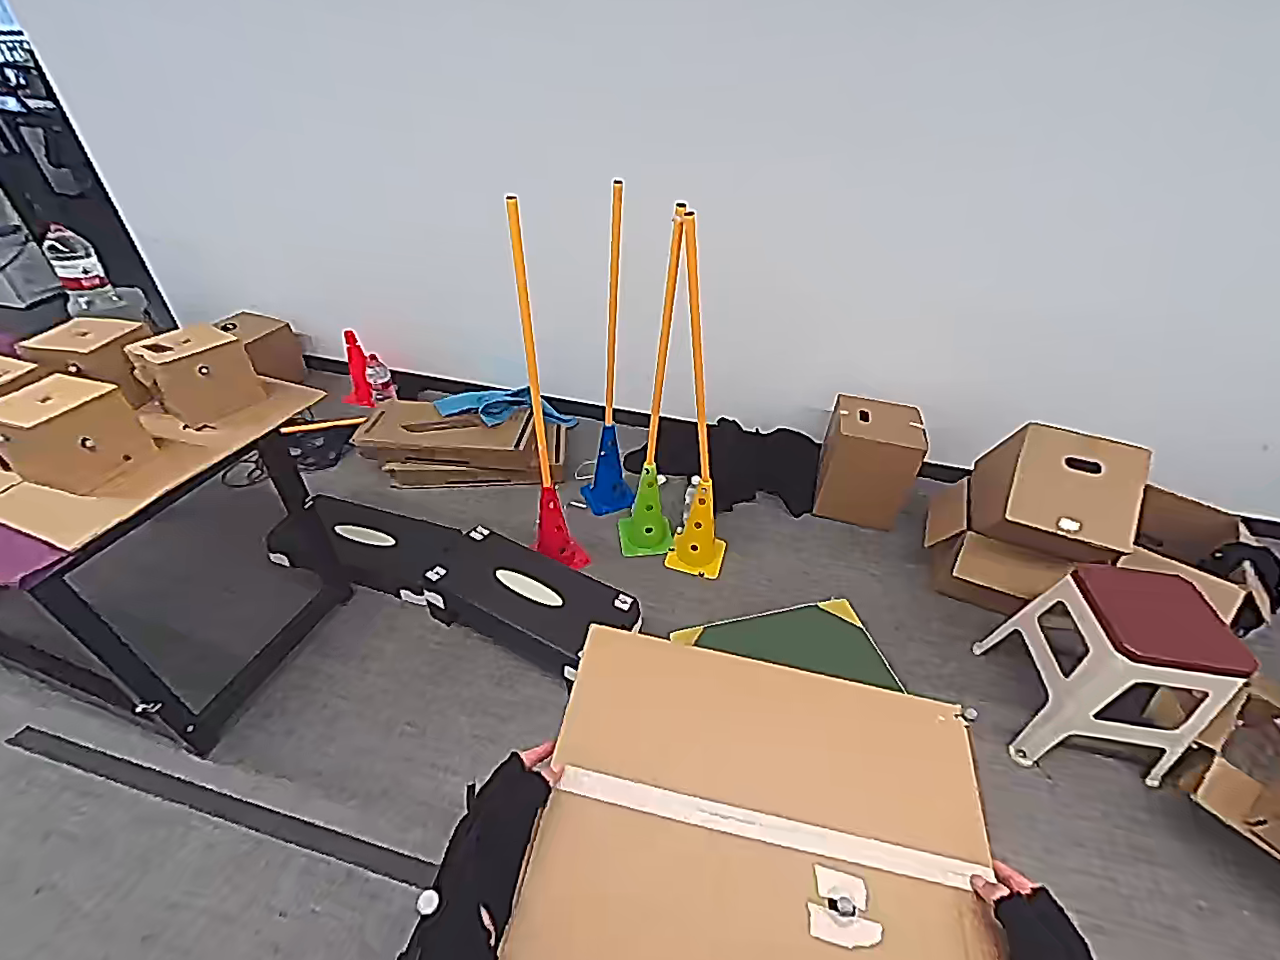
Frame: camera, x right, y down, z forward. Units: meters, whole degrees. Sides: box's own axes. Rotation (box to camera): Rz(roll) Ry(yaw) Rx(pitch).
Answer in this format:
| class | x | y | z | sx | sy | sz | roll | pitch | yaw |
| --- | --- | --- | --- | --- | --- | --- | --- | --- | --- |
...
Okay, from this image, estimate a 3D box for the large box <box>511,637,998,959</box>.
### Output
| class | x | y | z | sx | sy | sz | roll | pitch | yaw |
| --- | --- | --- | --- | --- | --- | --- | --- | --- | --- |
| large box | 0.103 | 0.422 | 0.611 | 0.408 | 0.320 | 0.320 | 11 | 49 | 5 |
